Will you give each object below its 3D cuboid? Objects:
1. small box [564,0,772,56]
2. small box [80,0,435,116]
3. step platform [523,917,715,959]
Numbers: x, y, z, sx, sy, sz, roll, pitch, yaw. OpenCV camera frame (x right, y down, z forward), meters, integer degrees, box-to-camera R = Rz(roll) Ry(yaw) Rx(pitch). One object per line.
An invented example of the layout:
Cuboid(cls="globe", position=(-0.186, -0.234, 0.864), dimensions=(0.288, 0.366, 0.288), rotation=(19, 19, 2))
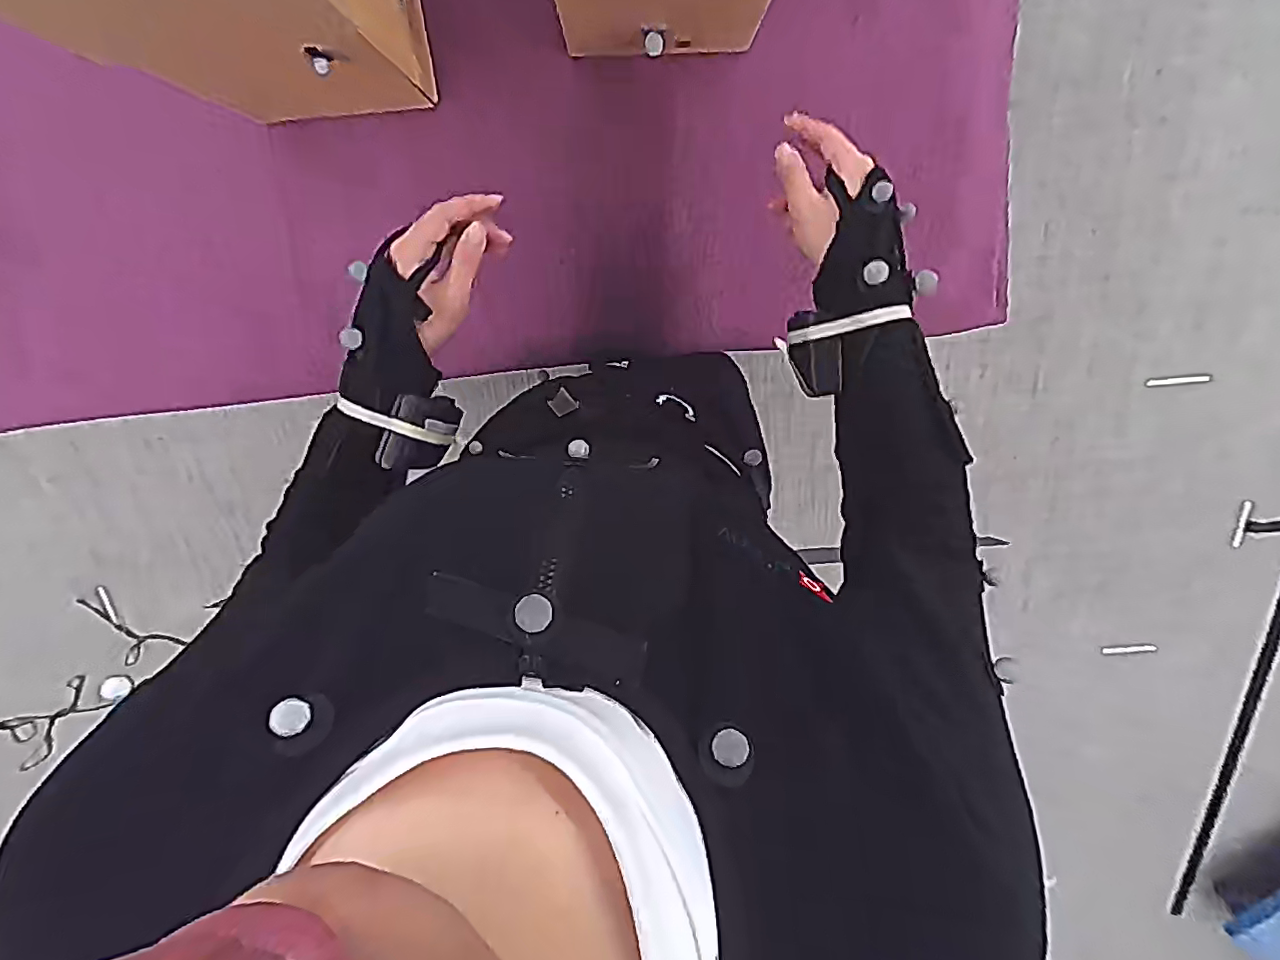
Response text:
Cuboid(cls="small box", position=(0.019, -0.445, 0.390), dimensions=(0.168, 0.176, 0.179), rotation=(-2, 110, 0))
Cuboid(cls="small box", position=(-0.280, -0.396, 0.404), dimensions=(0.179, 0.176, 0.168), rotation=(-6, 109, 0))
Cuboid(cls="step platform", position=(-0.071, 1.754, 1.902), dimensions=(0.684, 0.204, 0.286), rotation=(-5, 109, 0))
